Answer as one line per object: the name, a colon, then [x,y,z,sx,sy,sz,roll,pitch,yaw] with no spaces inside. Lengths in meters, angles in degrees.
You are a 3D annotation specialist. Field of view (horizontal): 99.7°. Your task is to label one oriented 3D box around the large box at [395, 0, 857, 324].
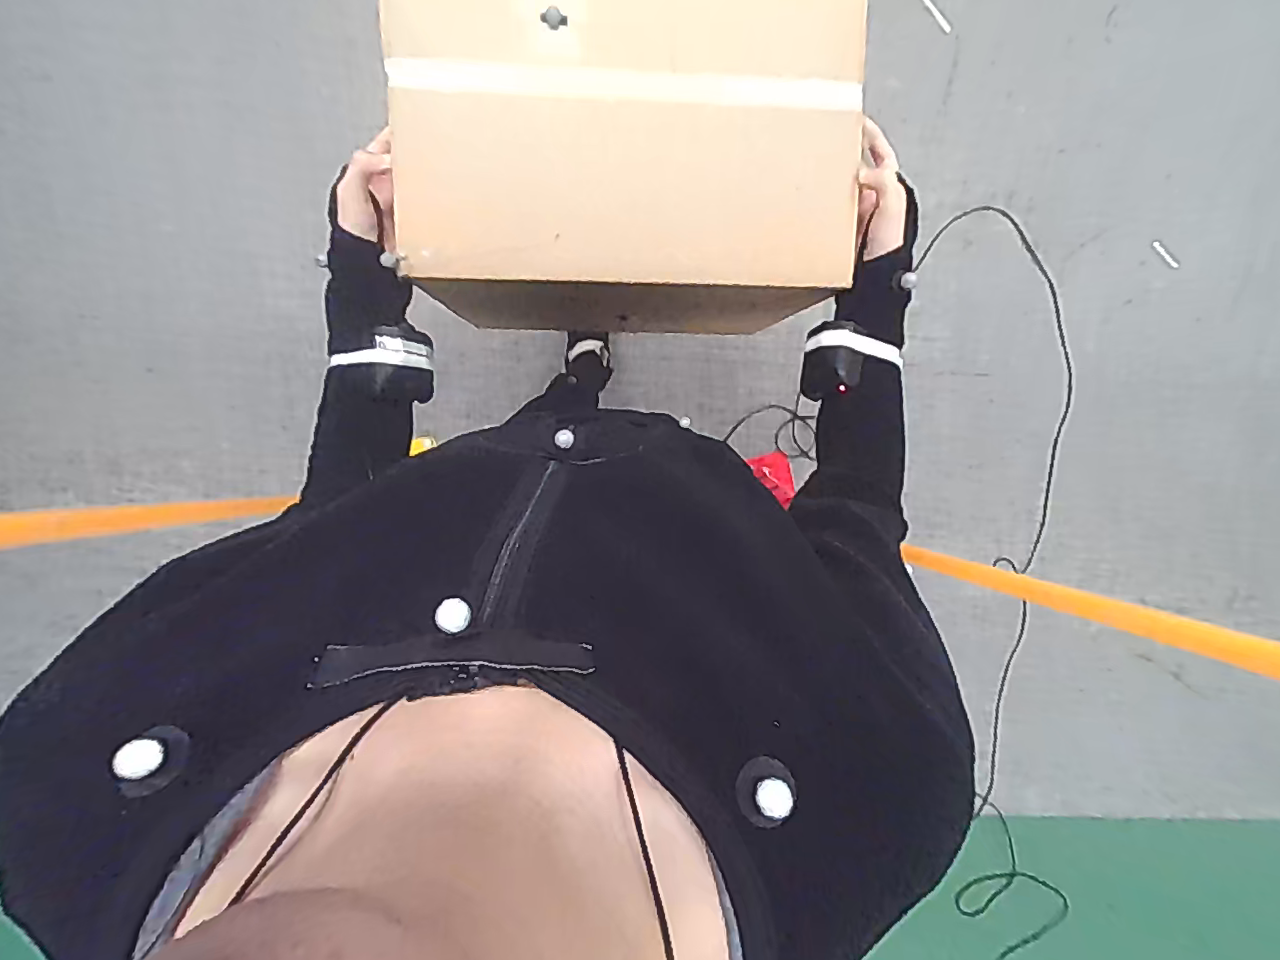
large box: [-0.016,-0.355,0.619,0.408,0.320,0.320,0,97,-4]
